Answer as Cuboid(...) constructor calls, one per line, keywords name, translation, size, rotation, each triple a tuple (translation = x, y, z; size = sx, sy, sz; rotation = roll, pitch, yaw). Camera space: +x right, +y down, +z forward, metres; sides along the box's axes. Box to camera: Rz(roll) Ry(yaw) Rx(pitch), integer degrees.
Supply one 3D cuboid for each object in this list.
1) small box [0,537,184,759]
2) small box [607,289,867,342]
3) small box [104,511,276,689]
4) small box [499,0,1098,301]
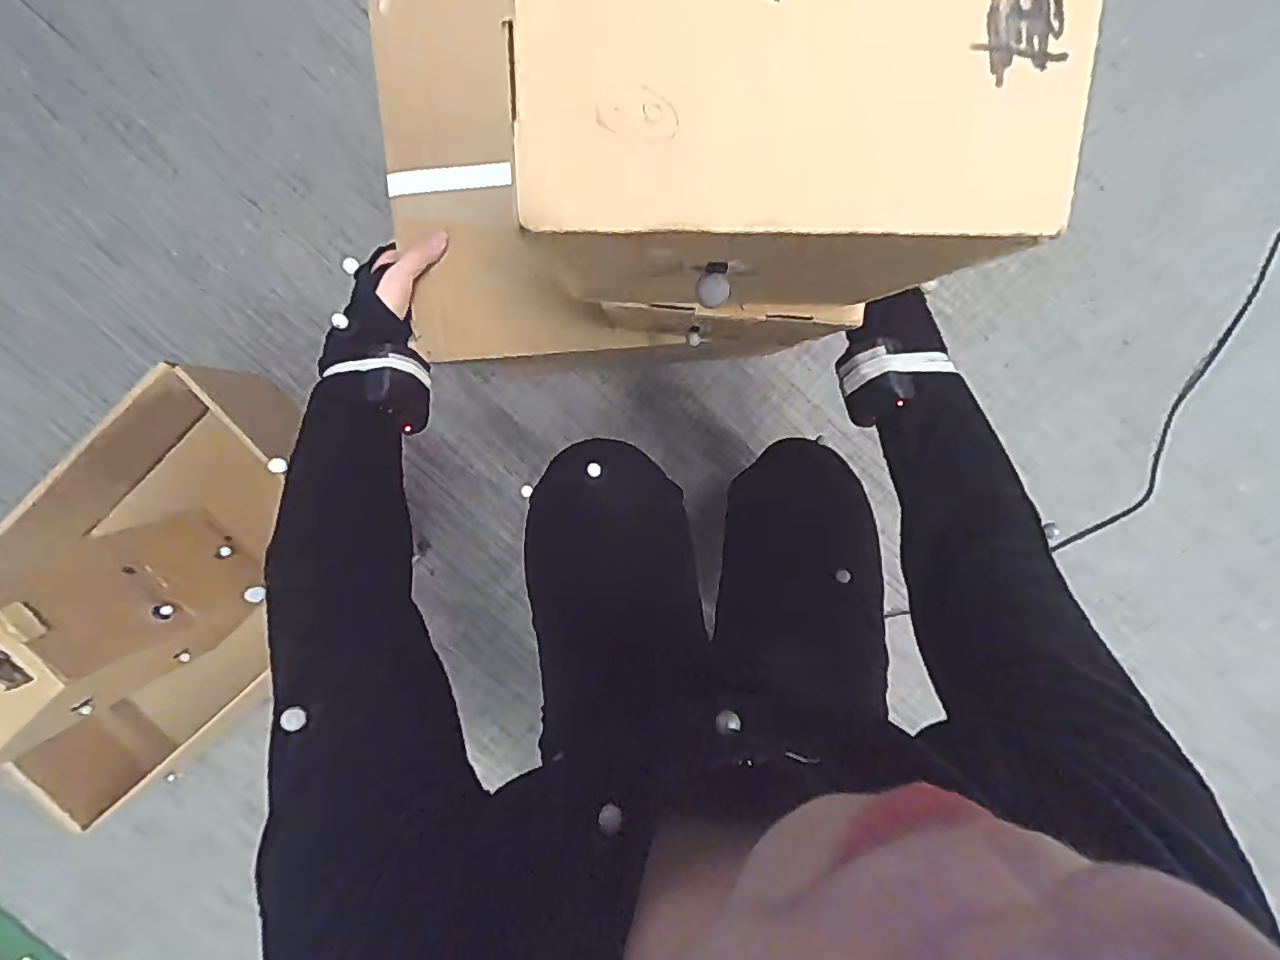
Cuboid(name="small box", translation=(-0.708, 0.192, 0.646), size=(0.179, 0.176, 0.168), rotation=(-41, 94, 6))
Cuboid(name="small box", translation=(0.064, -0.202, 0.395), size=(0.168, 0.176, 0.179), rotation=(5, 101, 0))
Cuboid(name="small box", translation=(-0.705, 0.170, 0.809), size=(0.179, 0.176, 0.168), rotation=(-42, 95, 5))
Cuboid(name="small box", translation=(0.048, -0.173, 0.233), size=(0.179, 0.176, 0.168), rotation=(1, 101, 1))
